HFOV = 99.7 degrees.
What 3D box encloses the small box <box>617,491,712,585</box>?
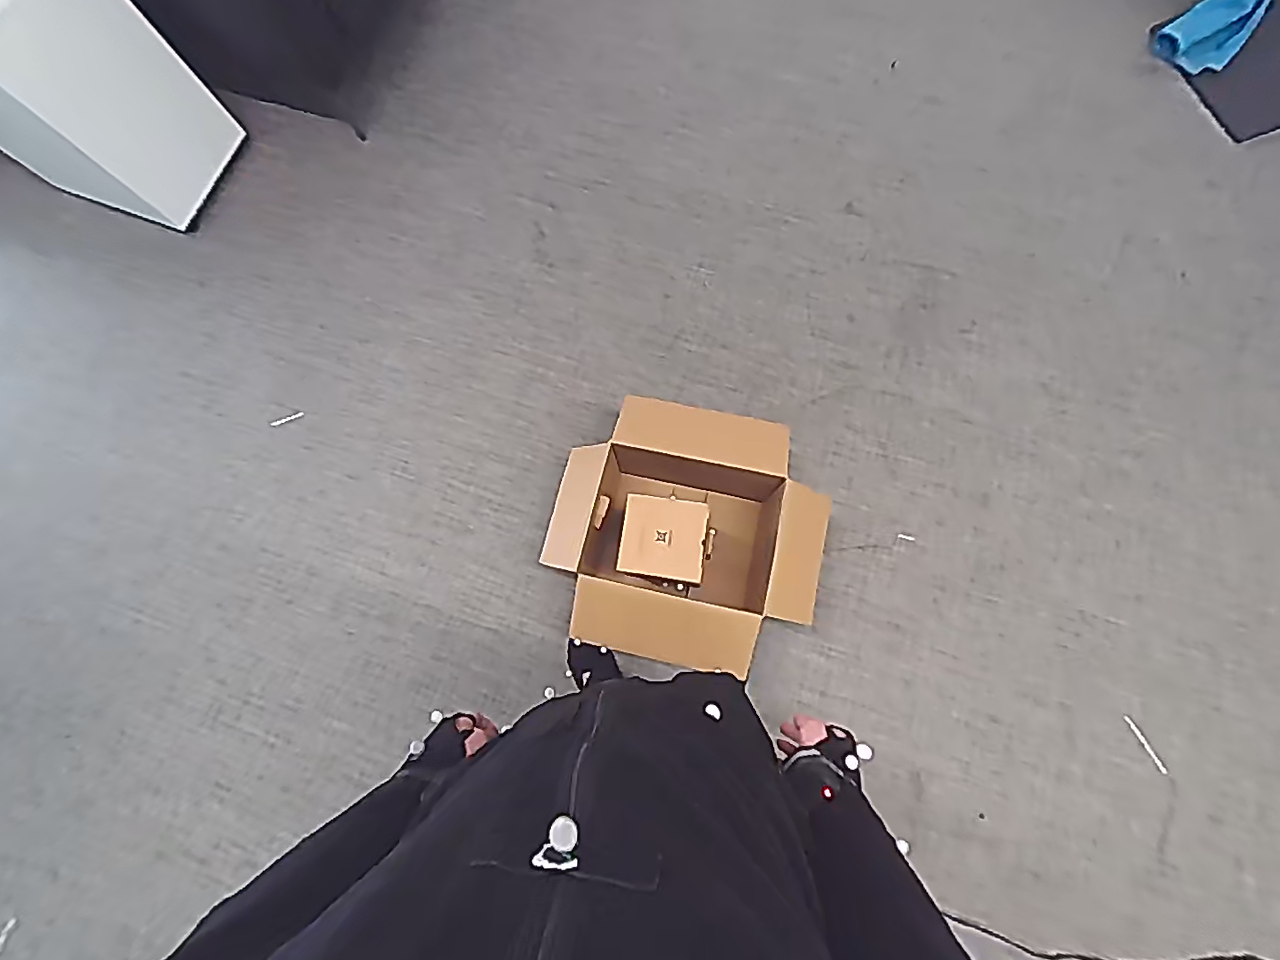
[{"bbox_3d":[0.062,0.134,1.191,0.179,0.176,0.168,7,75,10],"label":"small box"}]
